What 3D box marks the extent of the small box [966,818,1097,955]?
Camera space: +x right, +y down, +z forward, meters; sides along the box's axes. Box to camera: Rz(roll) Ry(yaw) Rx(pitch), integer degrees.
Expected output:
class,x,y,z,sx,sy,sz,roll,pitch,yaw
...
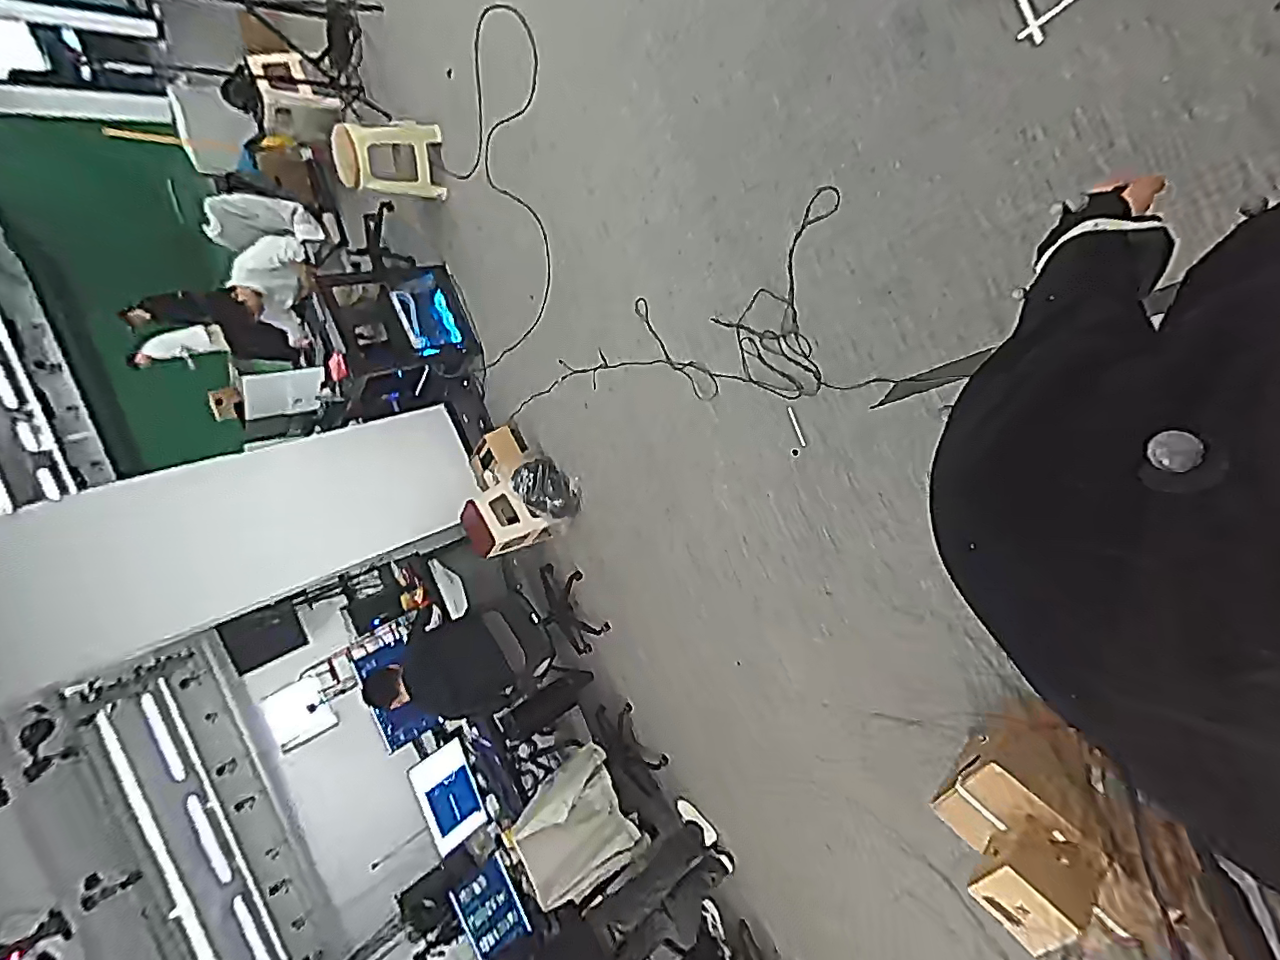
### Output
class,x,y,z,sx,sy,sz,roll,pitch,yaw
small box,0.909,0.937,1.255,0.168,0.176,0.179,40,135,31
